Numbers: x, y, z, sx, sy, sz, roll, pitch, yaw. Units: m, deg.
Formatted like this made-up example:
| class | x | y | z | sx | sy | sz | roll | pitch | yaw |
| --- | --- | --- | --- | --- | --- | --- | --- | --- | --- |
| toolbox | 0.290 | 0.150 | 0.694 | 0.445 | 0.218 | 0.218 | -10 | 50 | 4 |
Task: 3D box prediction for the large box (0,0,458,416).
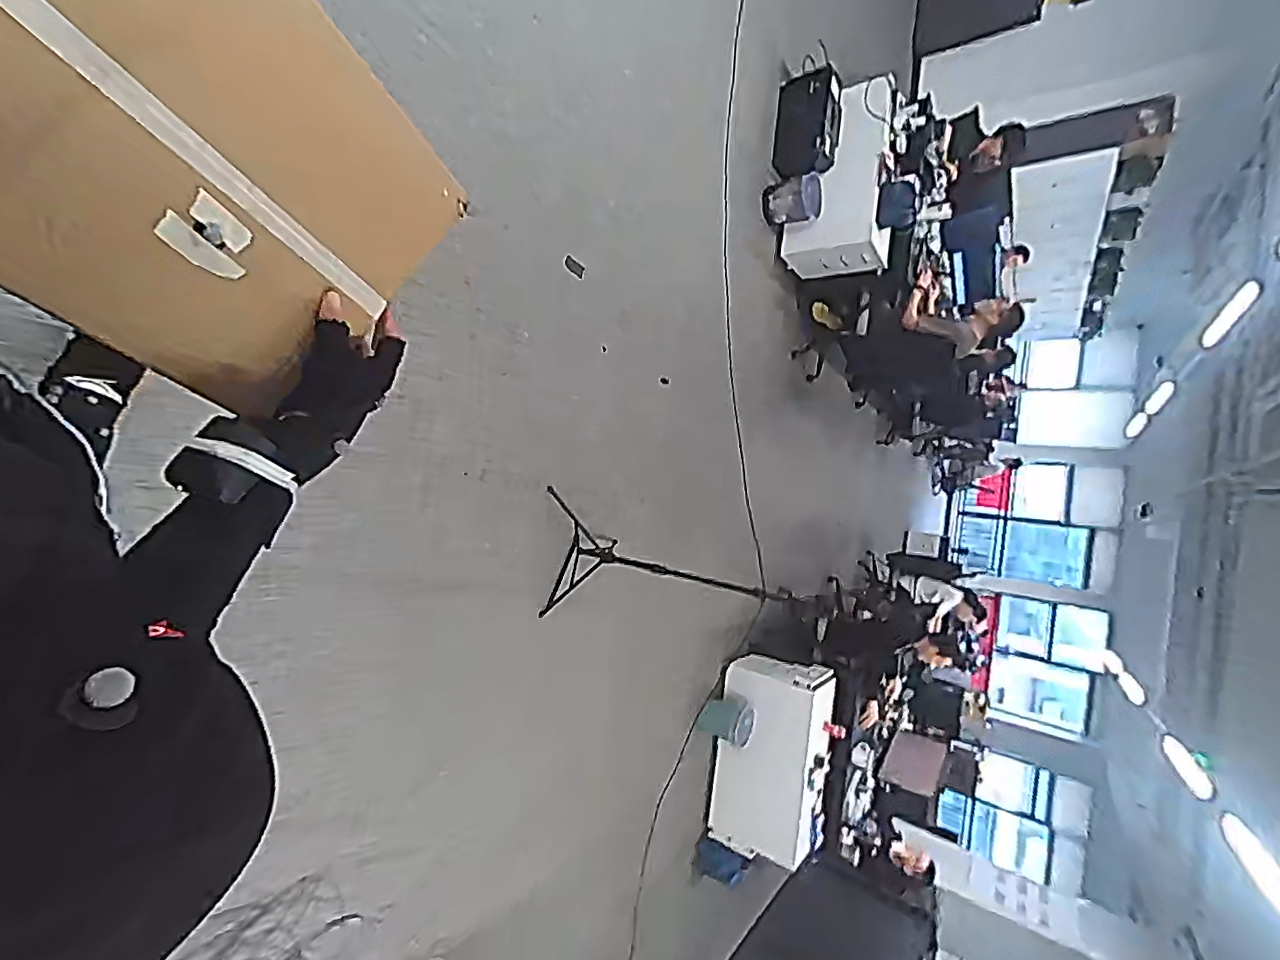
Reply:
| class | x | y | z | sx | sy | sz | roll | pitch | yaw |
| --- | --- | --- | --- | --- | --- | --- | --- | --- | --- |
| large box | -0.469 | -0.321 | 0.487 | 0.320 | 0.320 | 0.408 | -57 | 144 | -10 |
